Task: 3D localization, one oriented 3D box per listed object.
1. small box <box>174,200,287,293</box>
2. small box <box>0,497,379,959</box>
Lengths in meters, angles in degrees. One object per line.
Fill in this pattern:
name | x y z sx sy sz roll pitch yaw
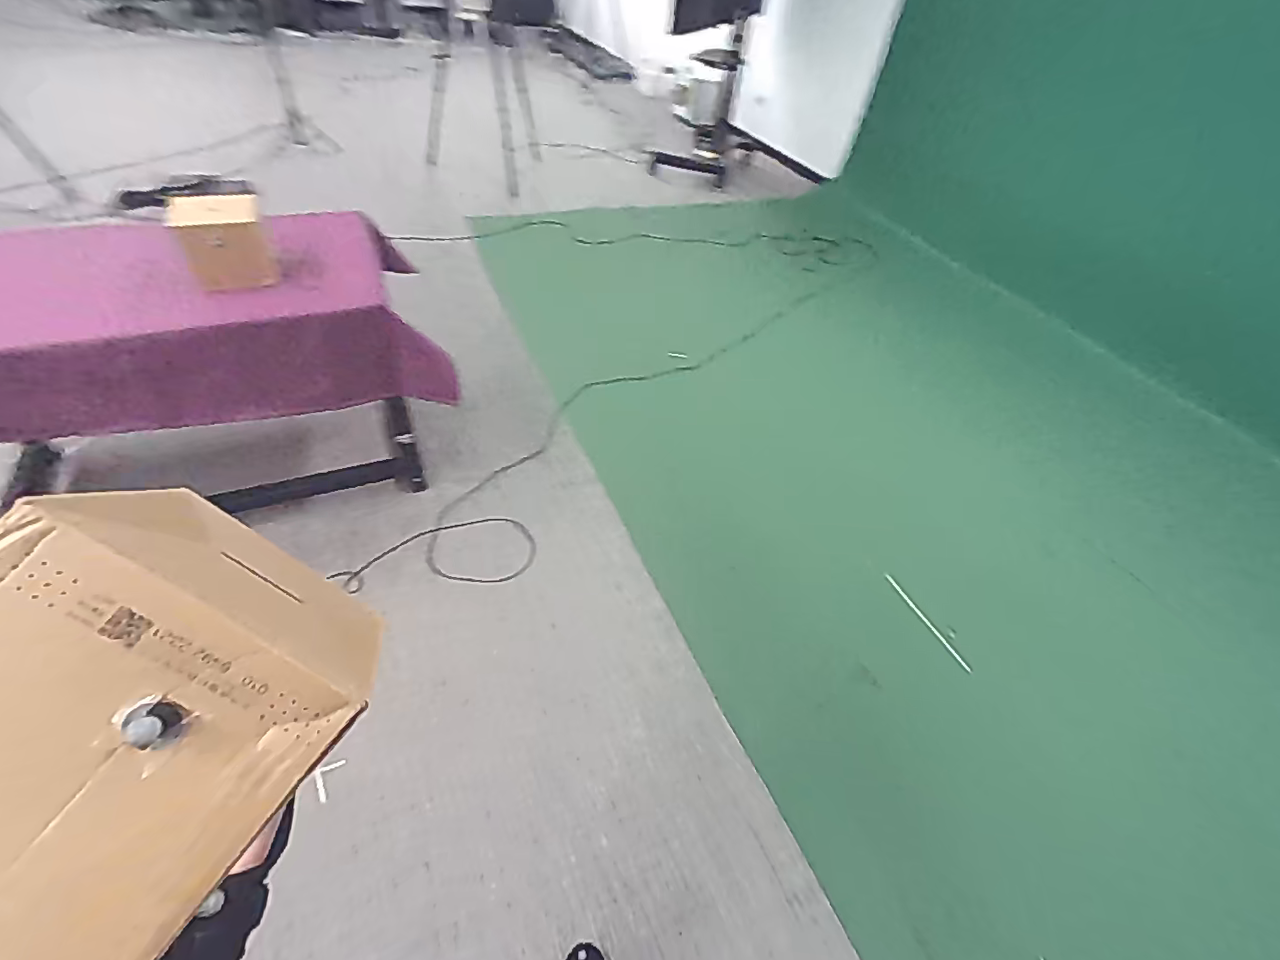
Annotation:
small box | -1.031 -0.591 1.376 0.179 0.176 0.168 -13 51 -20
small box | -0.277 0.123 0.313 0.168 0.179 0.176 41 75 -18
